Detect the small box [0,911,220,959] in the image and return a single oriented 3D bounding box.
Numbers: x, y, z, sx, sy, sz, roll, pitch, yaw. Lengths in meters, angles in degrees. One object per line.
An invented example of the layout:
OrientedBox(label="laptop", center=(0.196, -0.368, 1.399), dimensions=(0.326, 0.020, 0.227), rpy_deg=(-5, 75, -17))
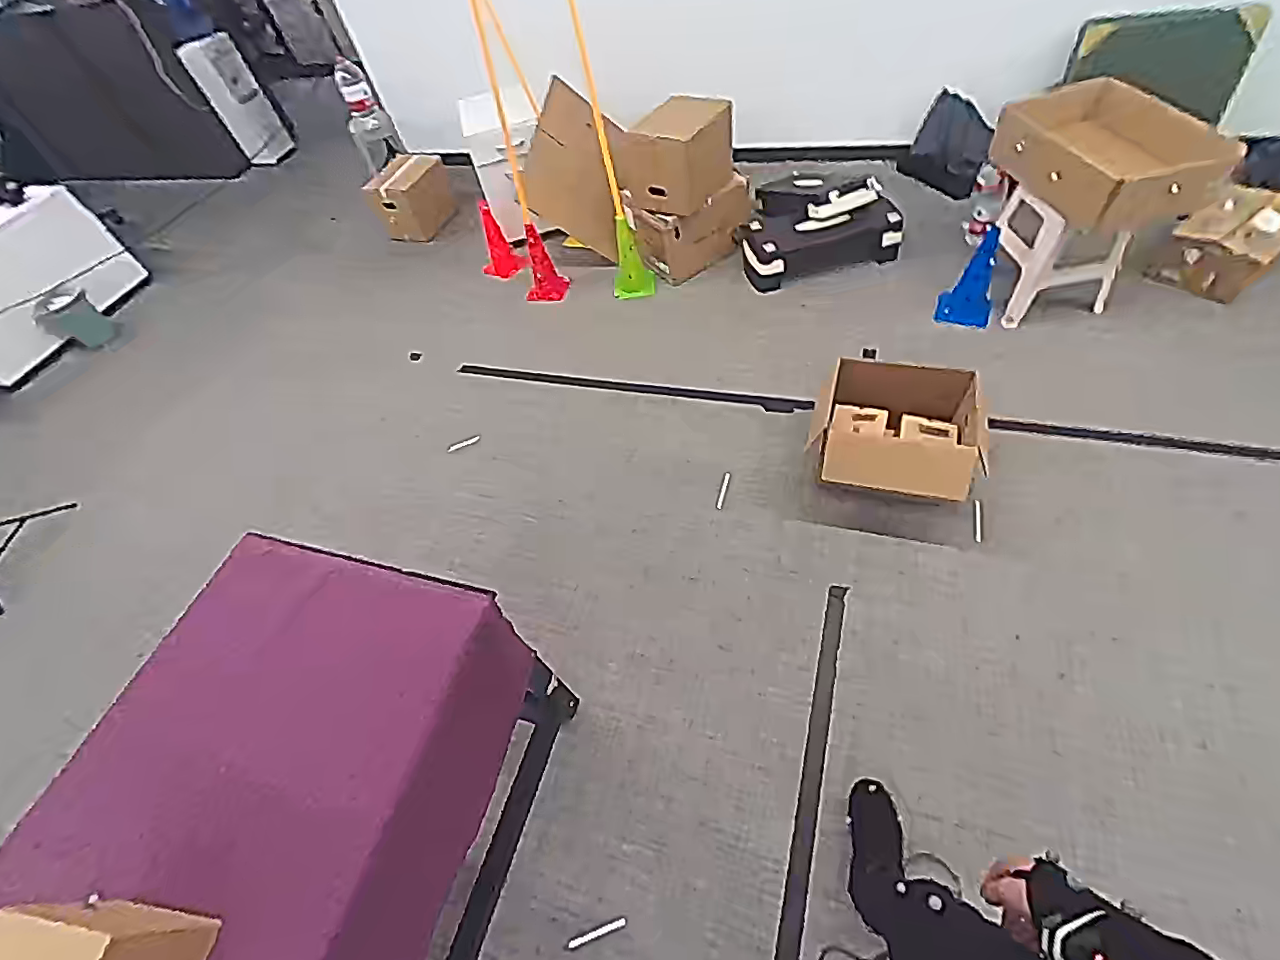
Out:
OrientedBox(label="small box", center=(-0.673, 0.634, 0.646), dimensions=(0.179, 0.176, 0.168), rpy_deg=(1, 55, 11))
